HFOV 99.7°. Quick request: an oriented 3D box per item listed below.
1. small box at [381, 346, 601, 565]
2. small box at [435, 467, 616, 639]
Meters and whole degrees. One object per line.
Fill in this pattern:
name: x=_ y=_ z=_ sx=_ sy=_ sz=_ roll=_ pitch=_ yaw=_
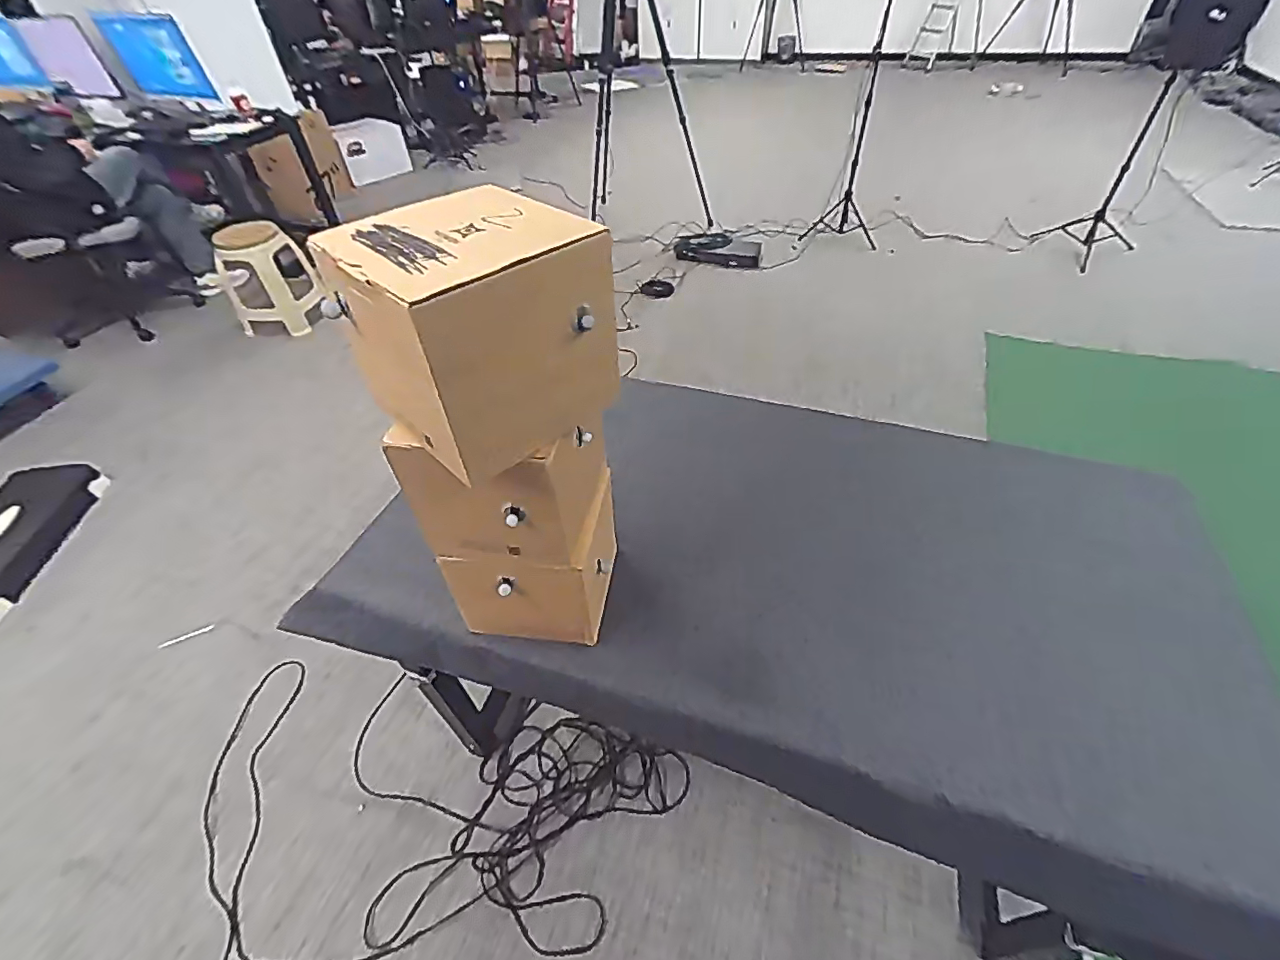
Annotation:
small box: x=-0.143 y=-0.028 z=0.601 sx=0.168 sy=0.176 sz=0.179 roll=6 pitch=44 yaw=9
small box: x=-0.132 y=0.092 z=0.711 sx=0.179 sy=0.176 sz=0.168 roll=4 pitch=45 yaw=8
